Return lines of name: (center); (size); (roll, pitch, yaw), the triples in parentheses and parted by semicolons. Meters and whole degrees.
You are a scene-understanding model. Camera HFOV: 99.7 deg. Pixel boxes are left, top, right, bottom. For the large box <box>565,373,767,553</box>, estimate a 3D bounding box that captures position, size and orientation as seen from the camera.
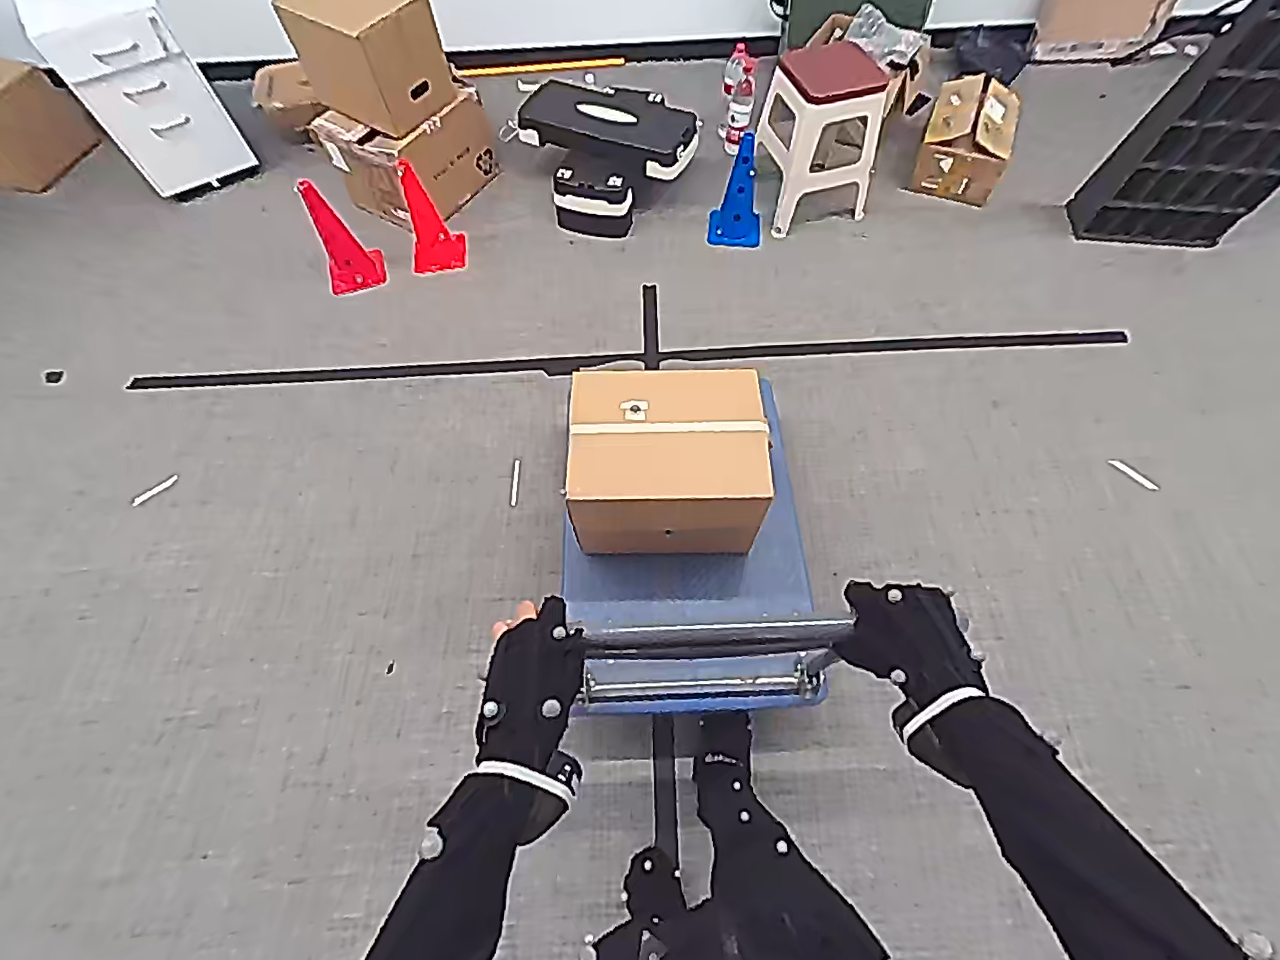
large box: (0.055, -0.025, 1.256); (0.408, 0.320, 0.320); (-1, 62, 2)
